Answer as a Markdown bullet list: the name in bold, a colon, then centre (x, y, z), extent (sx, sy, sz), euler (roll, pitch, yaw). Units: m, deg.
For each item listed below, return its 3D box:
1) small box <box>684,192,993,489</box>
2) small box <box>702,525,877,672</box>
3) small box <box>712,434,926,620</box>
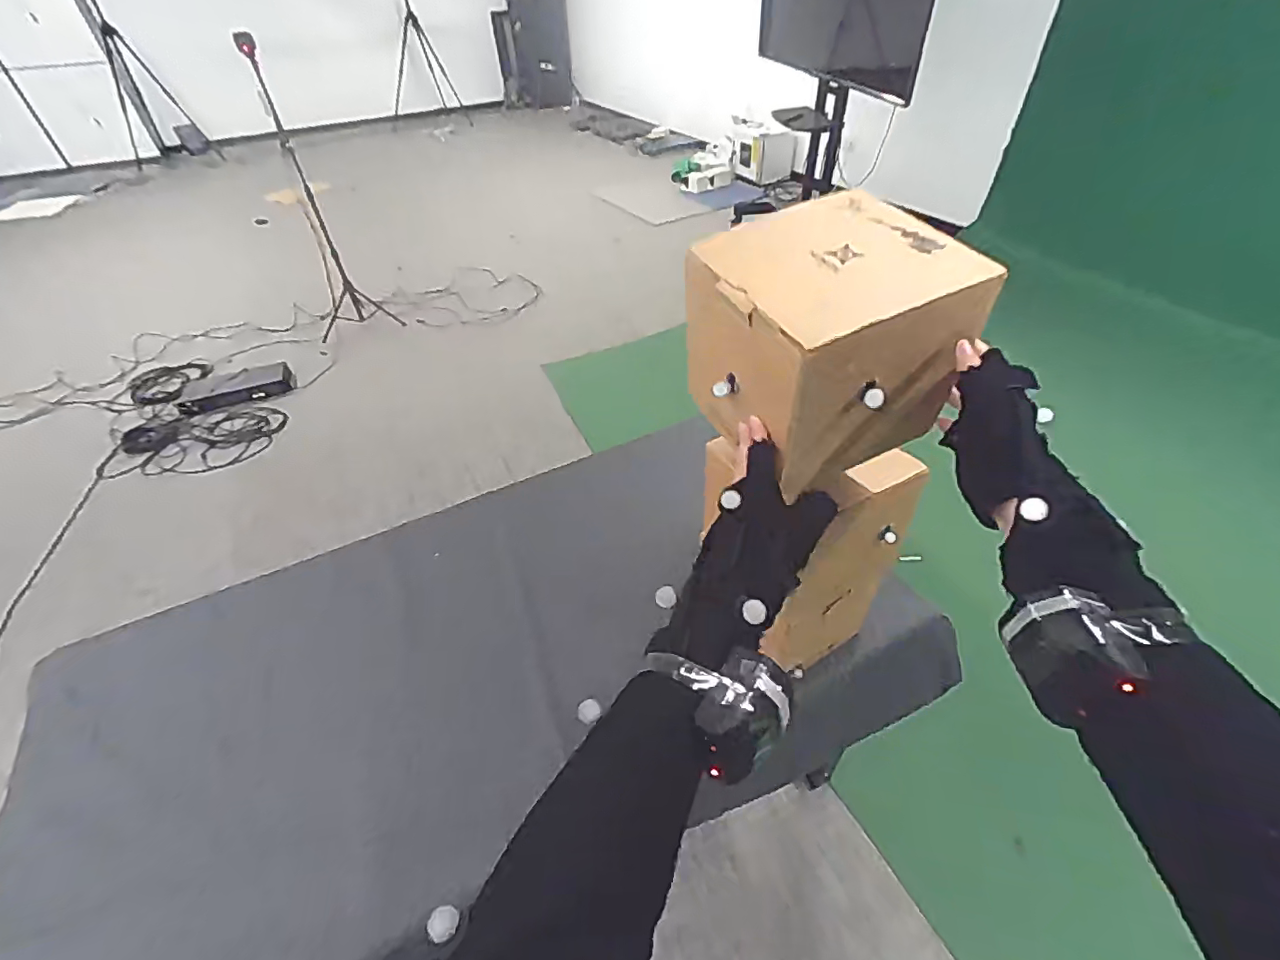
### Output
- **small box**: centre (0.156, -0.119, 0.483), extent (0.179, 0.176, 0.168), euler (-23, 53, -10)
- **small box**: centre (0.205, 0.147, 0.774), extent (0.168, 0.176, 0.179), euler (-24, 46, -20)
- **small box**: centre (0.200, 0.034, 0.658), extent (0.179, 0.176, 0.168), euler (-24, 45, -18)
